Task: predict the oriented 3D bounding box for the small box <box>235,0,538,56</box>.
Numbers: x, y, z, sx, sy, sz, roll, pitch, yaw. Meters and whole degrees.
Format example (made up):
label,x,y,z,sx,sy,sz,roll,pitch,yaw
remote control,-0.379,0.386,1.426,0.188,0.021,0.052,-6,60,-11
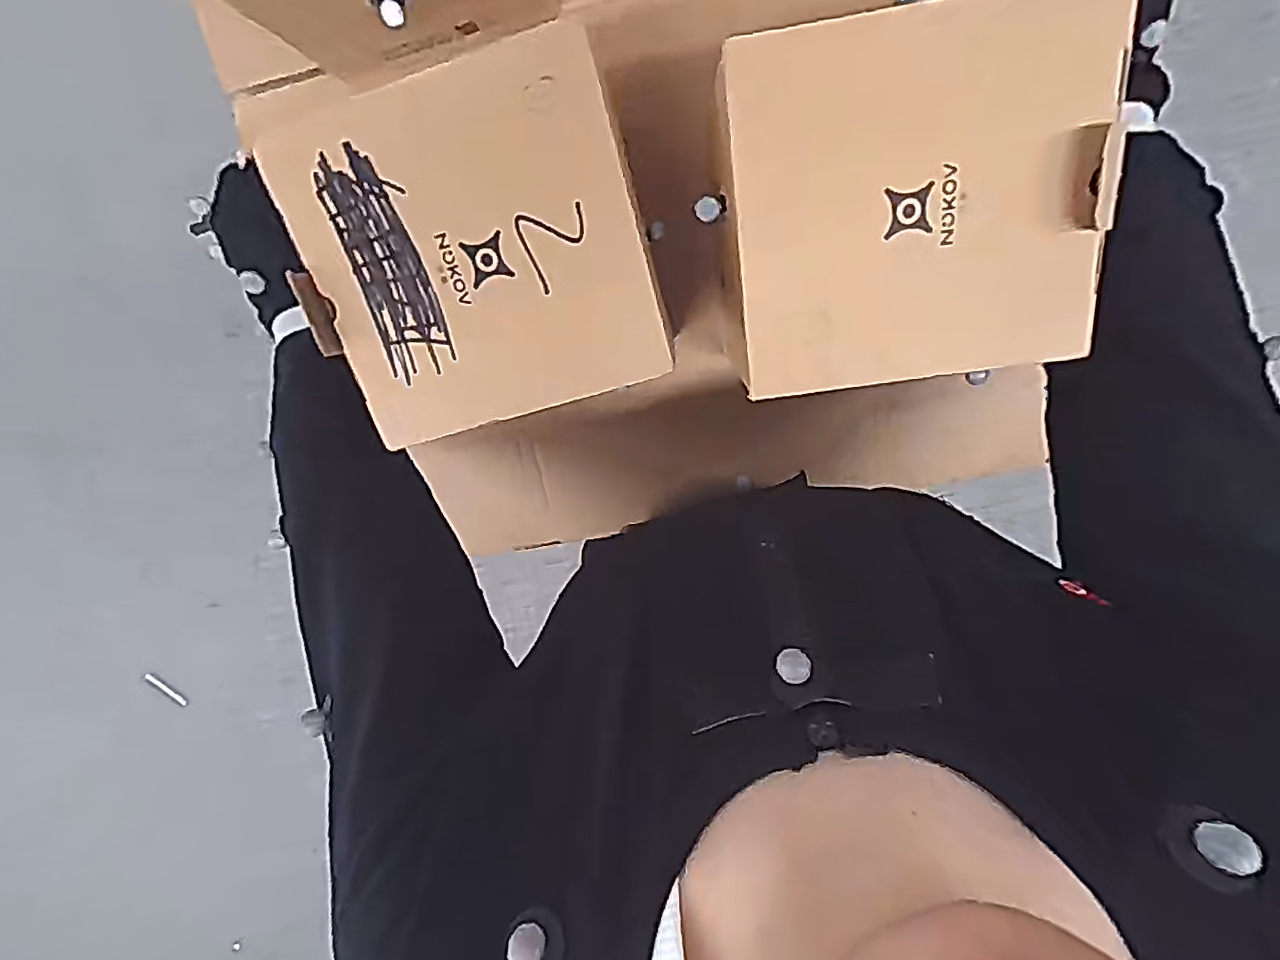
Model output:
label,x,y,z,sx,sy,sz,roll,pitch,yaw
small box,-0.164,-0.362,0.282,0.168,0.176,0.179,-11,108,7
